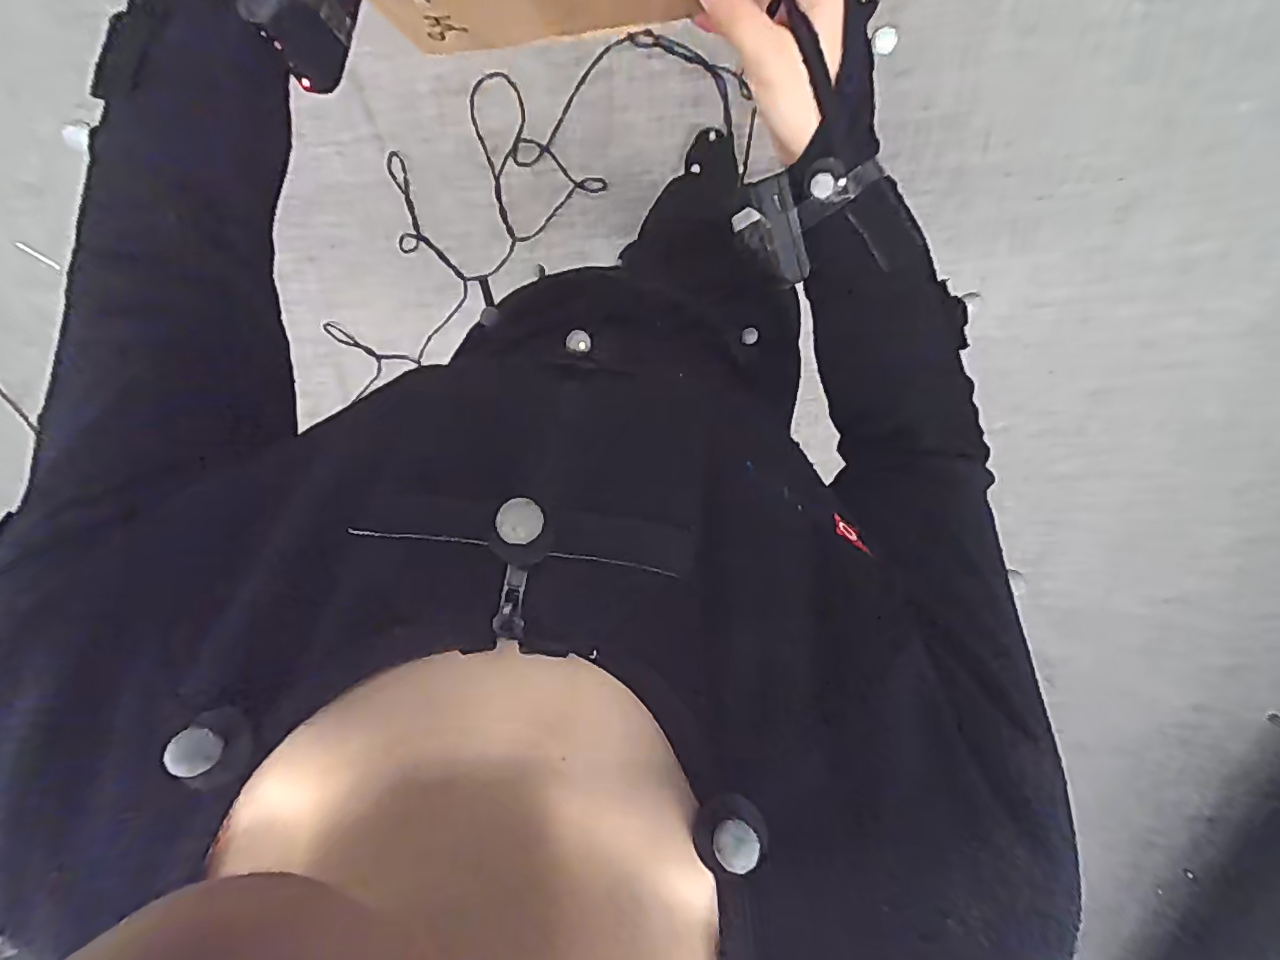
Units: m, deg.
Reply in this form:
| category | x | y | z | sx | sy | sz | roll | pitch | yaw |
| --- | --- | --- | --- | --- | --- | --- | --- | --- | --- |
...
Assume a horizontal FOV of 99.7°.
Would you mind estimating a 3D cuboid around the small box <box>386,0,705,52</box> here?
| category | x | y | z | sx | sy | sz | roll | pitch | yaw |
| --- | --- | --- | --- | --- | --- | --- | --- | --- | --- |
| small box | -0.061 | -0.333 | 0.232 | 0.179 | 0.168 | 0.176 | -3 | 103 | 7 |
